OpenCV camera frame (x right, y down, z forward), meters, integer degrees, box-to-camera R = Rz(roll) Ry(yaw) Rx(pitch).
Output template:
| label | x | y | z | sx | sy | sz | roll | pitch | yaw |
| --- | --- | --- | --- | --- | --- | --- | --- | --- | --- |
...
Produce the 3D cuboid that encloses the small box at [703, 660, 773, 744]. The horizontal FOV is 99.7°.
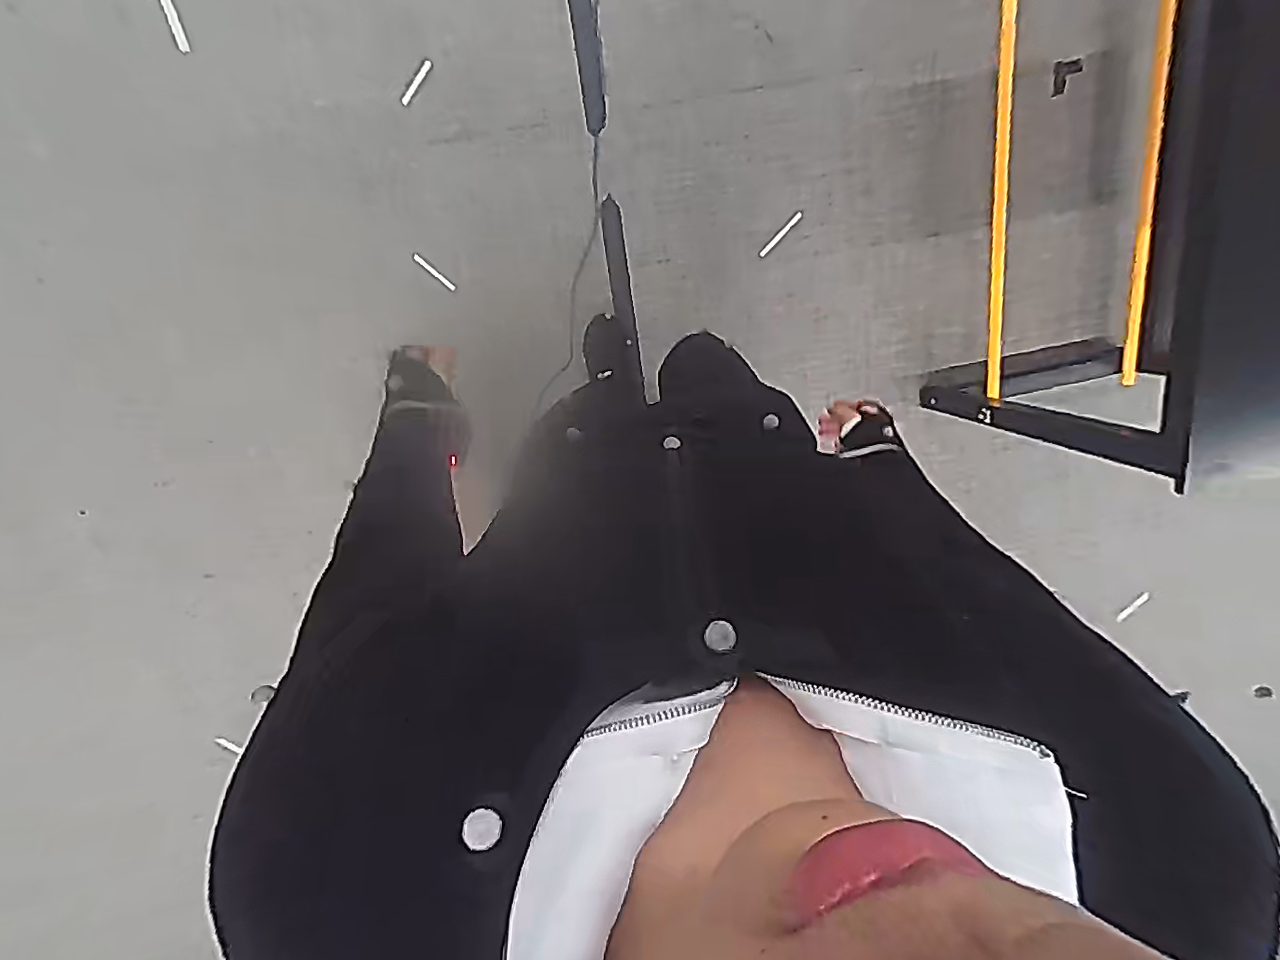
| label | x | y | z | sx | sy | sz | roll | pitch | yaw |
| --- | --- | --- | --- | --- | --- | --- | --- | --- | --- |
| small box | 0.297 | 0.674 | 1.660 | 0.179 | 0.176 | 0.168 | -6 | 107 | -2 |
